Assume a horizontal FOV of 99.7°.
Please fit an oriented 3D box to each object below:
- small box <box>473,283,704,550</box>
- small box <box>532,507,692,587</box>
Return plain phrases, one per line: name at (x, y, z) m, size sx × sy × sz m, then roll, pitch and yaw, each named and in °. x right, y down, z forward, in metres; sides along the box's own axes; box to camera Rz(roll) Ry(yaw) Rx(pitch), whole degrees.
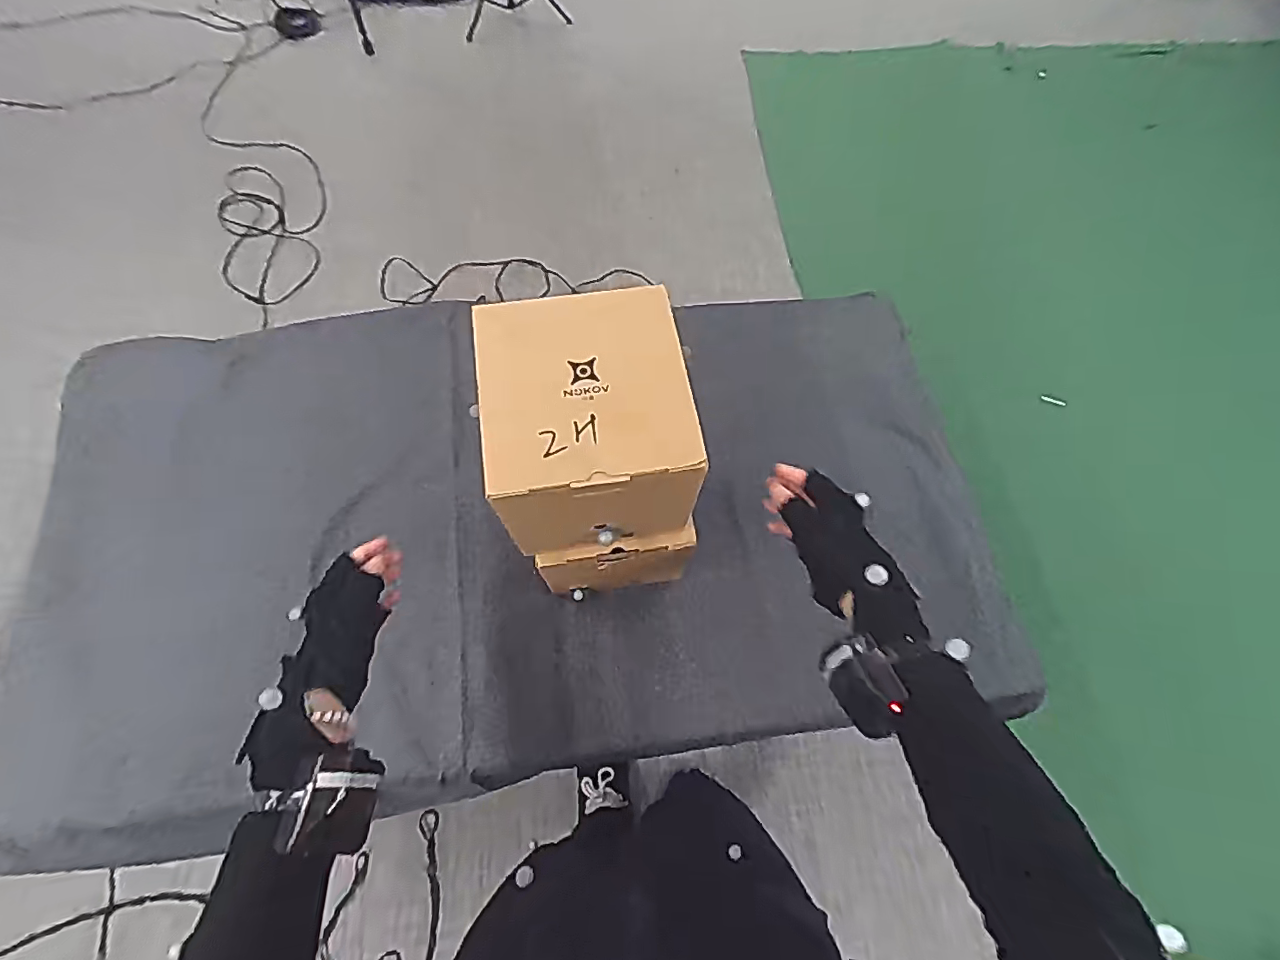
small box at (-0.049, -0.049, 0.499) m, size 0.168 × 0.176 × 0.179 m, roll -9°, pitch 69°, yaw -5°
small box at (-0.039, 0.024, 0.646) m, size 0.168 × 0.176 × 0.179 m, roll -7°, pitch 68°, yaw -5°
